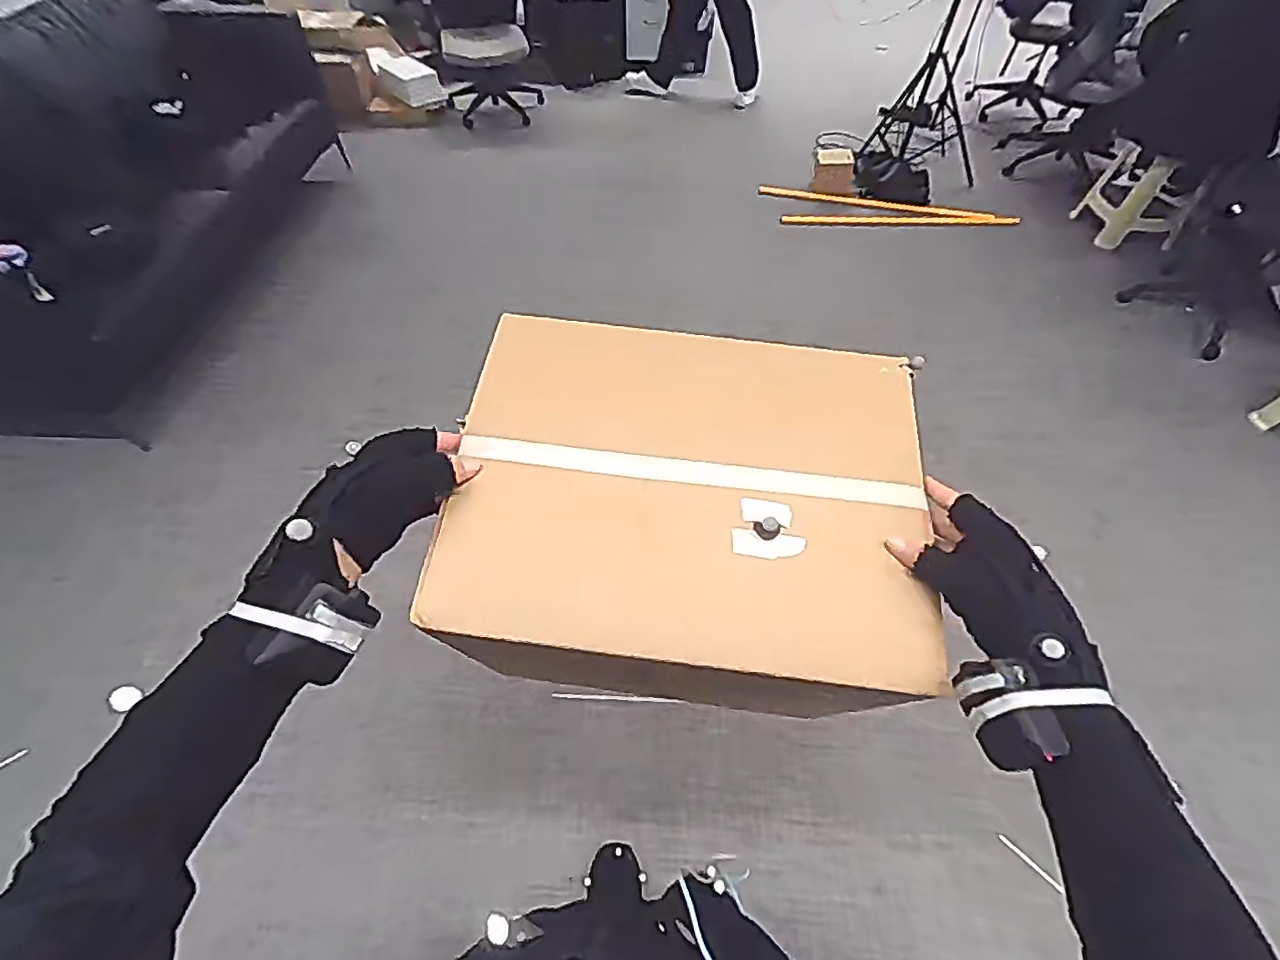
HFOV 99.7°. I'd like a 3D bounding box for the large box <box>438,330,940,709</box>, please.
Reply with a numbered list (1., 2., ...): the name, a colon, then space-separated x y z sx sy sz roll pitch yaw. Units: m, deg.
1. large box: 0.045 0.067 0.619 0.408 0.320 0.320 7 64 1
